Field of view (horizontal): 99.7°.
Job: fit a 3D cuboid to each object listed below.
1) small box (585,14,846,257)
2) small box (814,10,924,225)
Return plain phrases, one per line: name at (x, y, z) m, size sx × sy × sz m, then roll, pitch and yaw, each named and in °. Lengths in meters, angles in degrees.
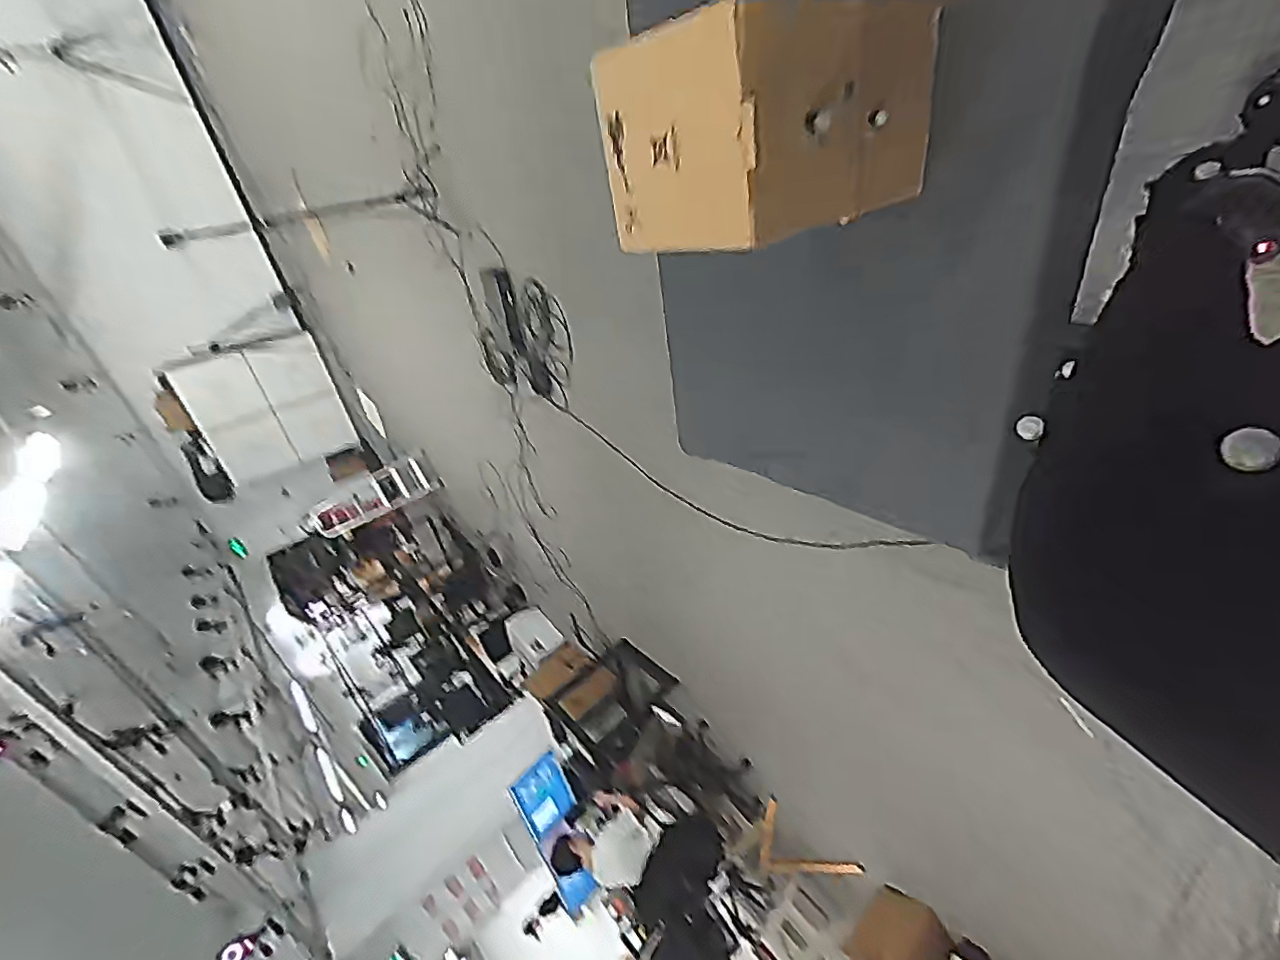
small box at (0.079, -0.321, 0.520) m, size 0.179 × 0.176 × 0.168 m, roll 23°, pitch 135°, yaw 43°
small box at (0.195, -0.397, 0.608) m, size 0.168 × 0.176 × 0.179 m, roll 23°, pitch 134°, yaw 43°
